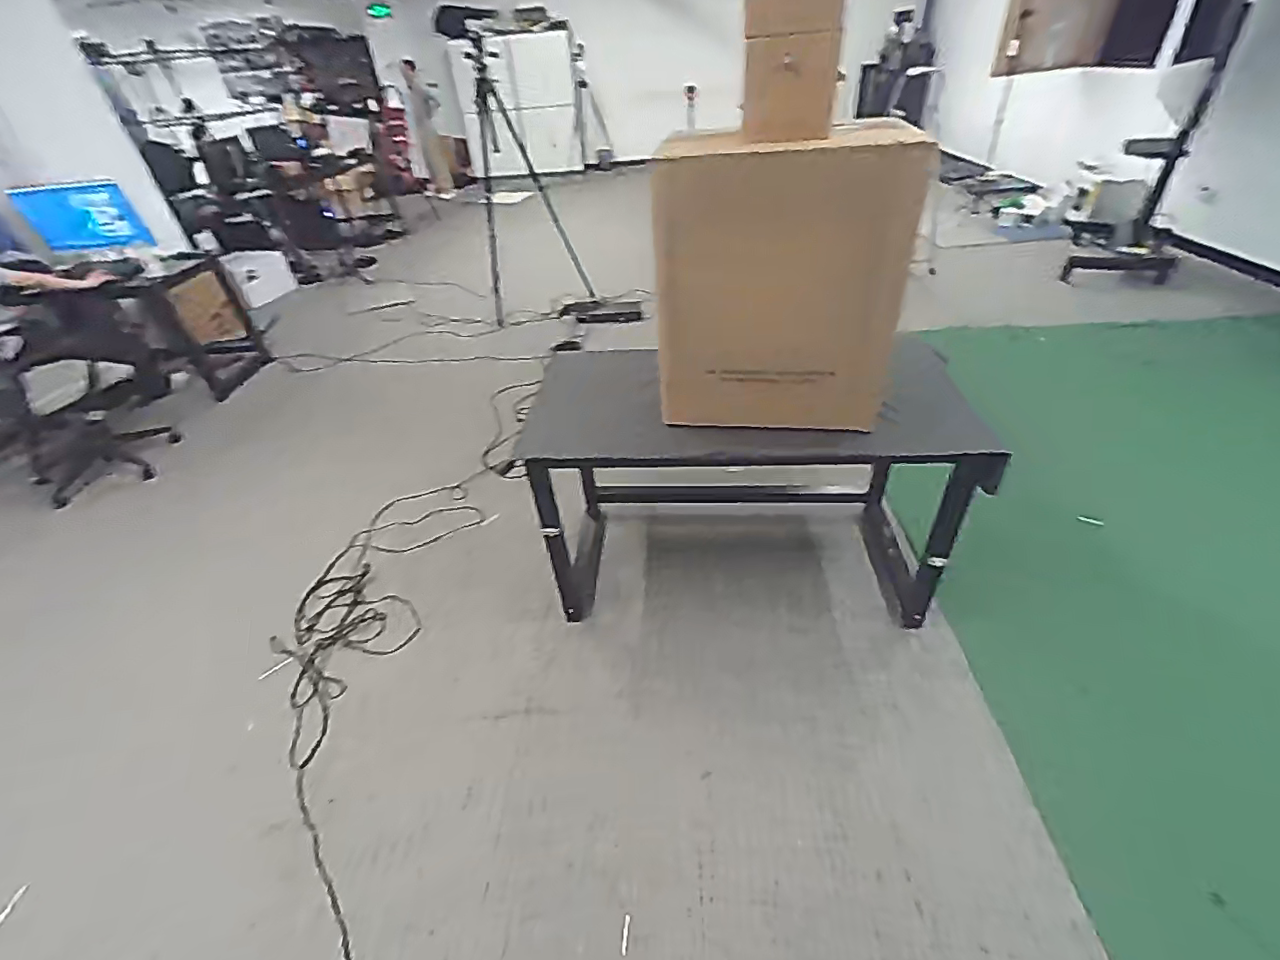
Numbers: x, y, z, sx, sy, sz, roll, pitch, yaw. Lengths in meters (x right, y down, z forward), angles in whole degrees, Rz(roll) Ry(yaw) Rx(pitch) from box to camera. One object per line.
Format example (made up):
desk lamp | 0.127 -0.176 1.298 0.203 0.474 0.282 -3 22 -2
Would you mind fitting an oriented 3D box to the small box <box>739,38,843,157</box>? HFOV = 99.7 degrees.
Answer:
small box | 0.291 -0.751 1.065 0.179 0.176 0.168 3 41 11
